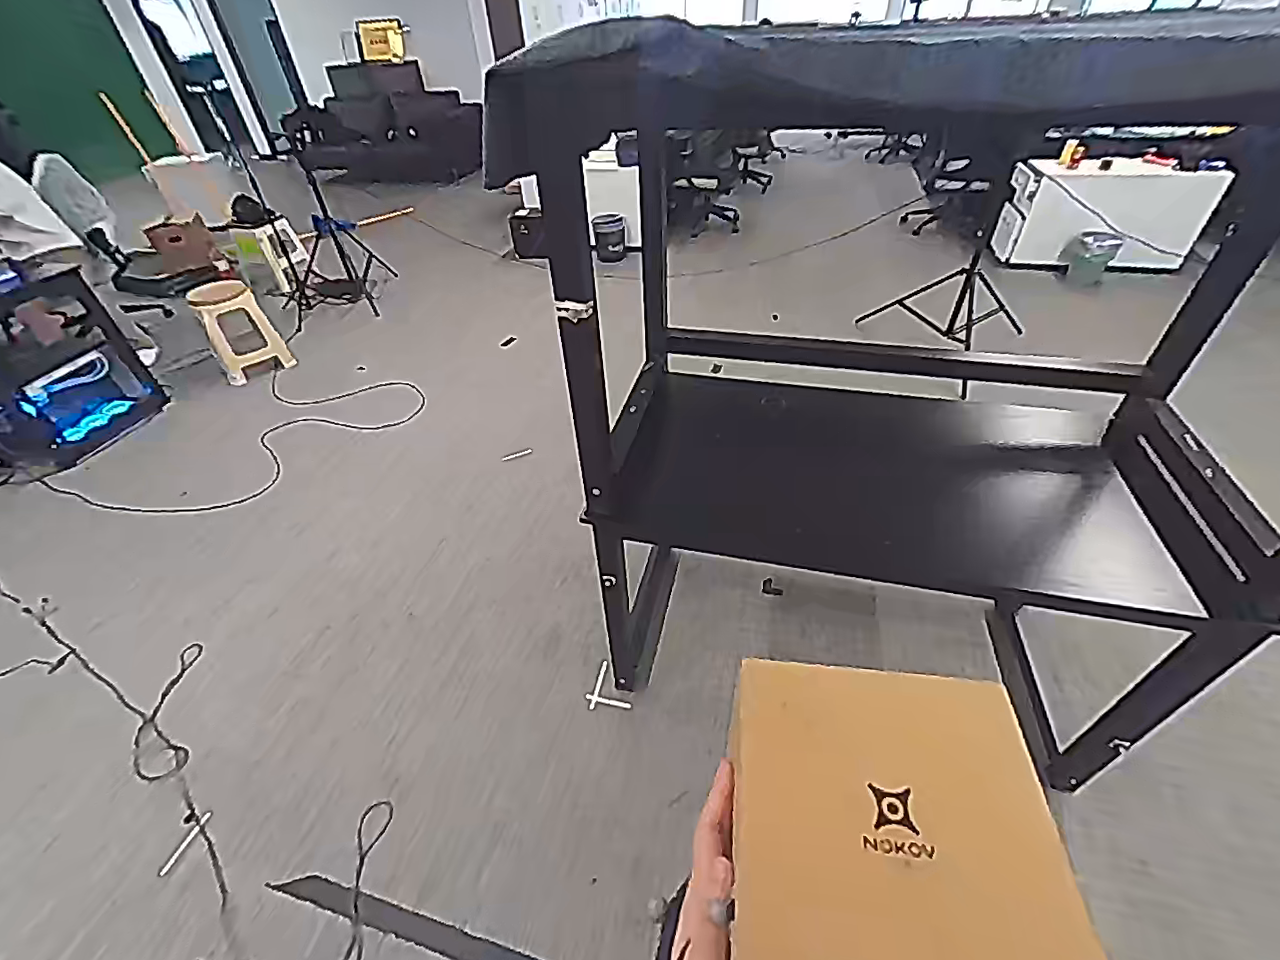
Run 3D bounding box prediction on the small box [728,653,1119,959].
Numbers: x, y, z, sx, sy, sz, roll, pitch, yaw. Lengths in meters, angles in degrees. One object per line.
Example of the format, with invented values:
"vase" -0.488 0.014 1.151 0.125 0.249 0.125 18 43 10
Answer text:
"small box" 0.143 0.237 0.341 0.168 0.176 0.179 3 42 8
